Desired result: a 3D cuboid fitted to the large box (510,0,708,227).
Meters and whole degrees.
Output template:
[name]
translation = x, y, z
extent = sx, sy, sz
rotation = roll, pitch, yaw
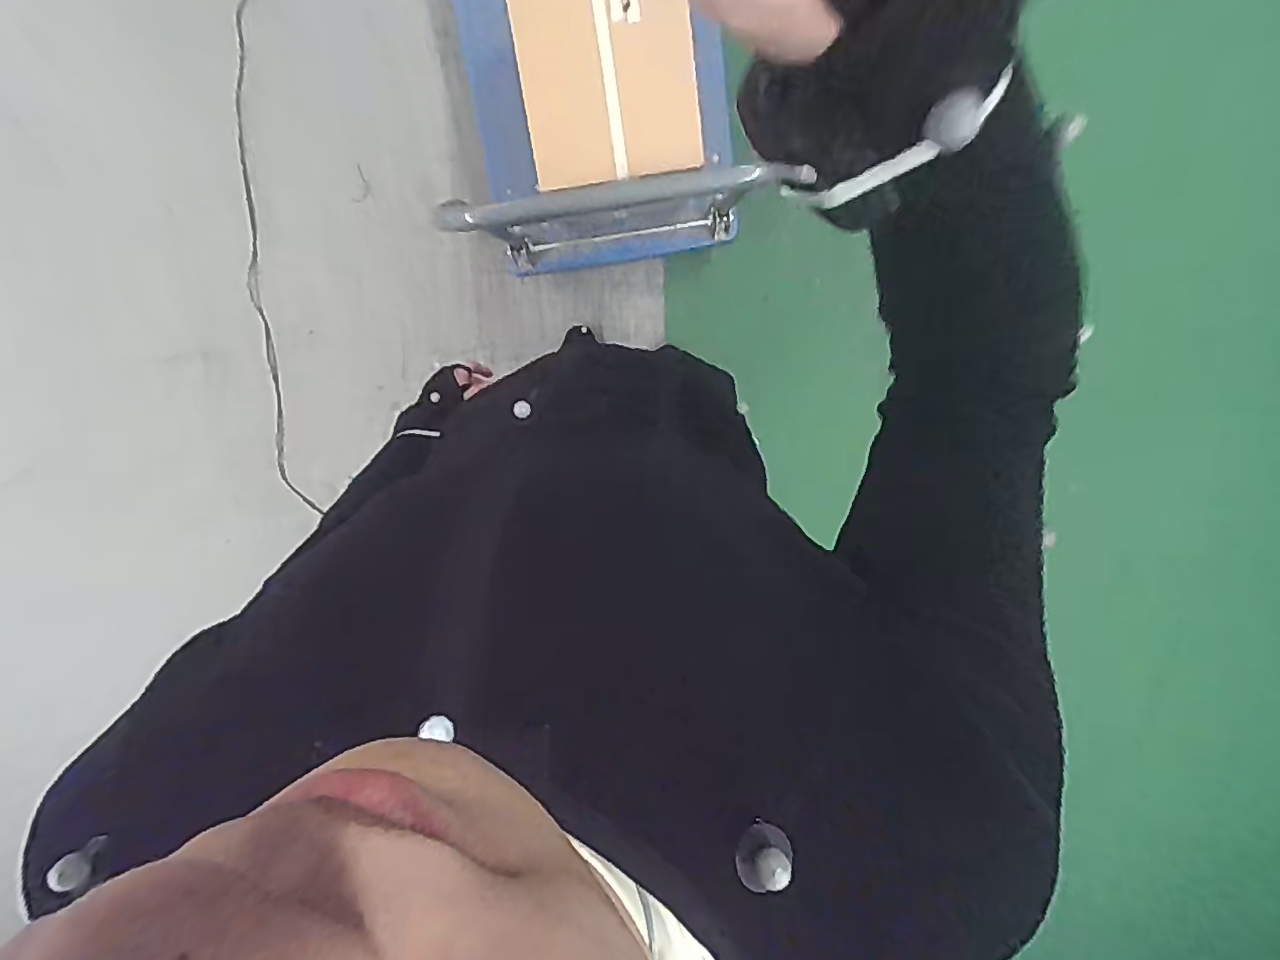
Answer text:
[large box]
translation = -0.054, -0.783, 1.101
extent = 0.320, 0.320, 0.408
rotation = -8, 104, 1
